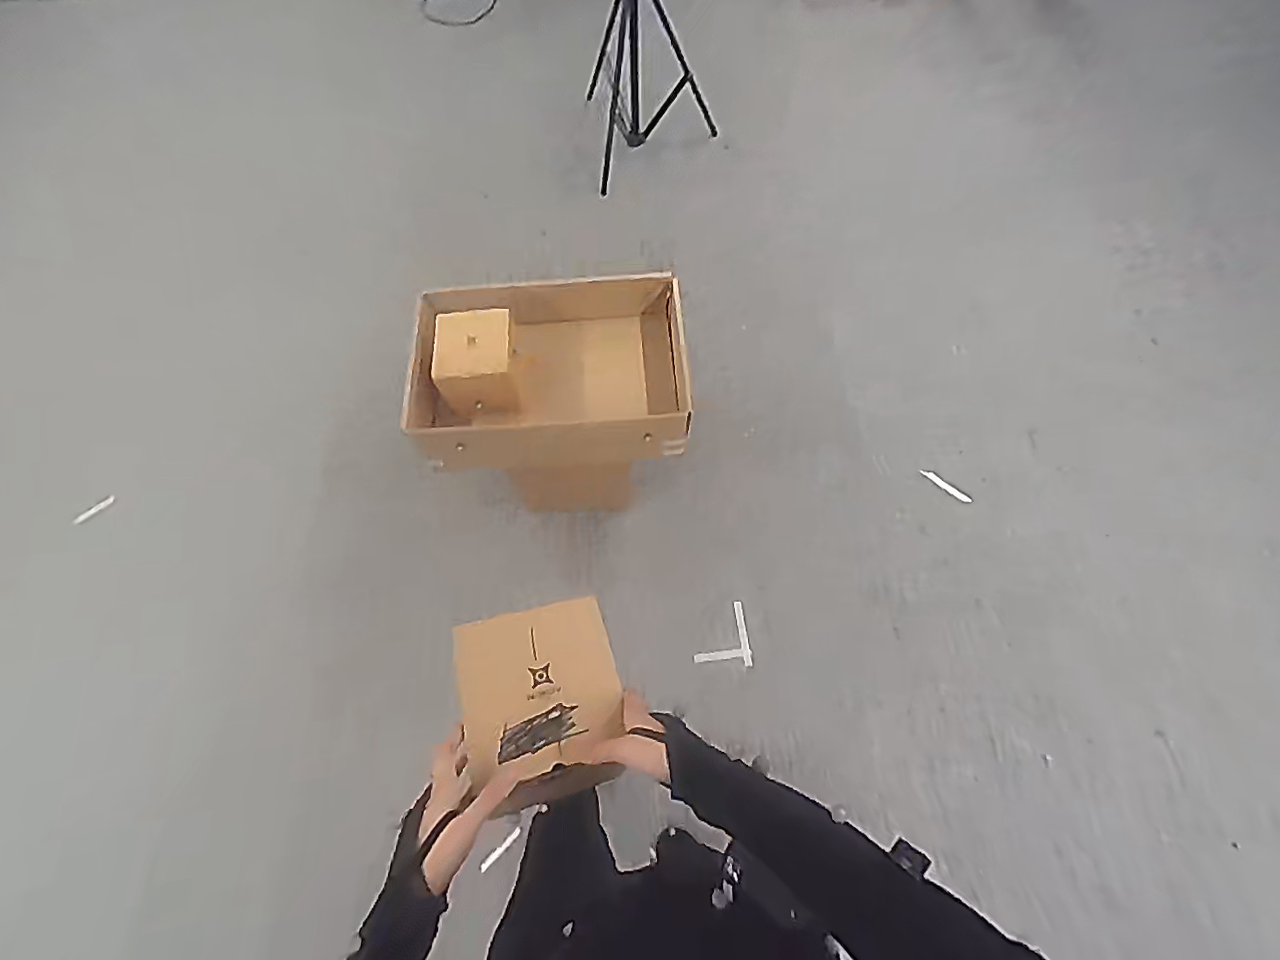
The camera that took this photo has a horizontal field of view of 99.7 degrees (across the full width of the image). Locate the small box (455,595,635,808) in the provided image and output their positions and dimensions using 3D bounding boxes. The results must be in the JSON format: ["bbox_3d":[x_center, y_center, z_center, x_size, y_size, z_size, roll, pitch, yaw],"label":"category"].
[{"bbox_3d":[-0.113,0.262,0.631,0.168,0.176,0.179,-9,53,-17],"label":"small box"}]

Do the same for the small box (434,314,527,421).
[{"bbox_3d":[-0.362,-0.258,1.254,0.168,0.176,0.179,-6,67,-1],"label":"small box"}]
